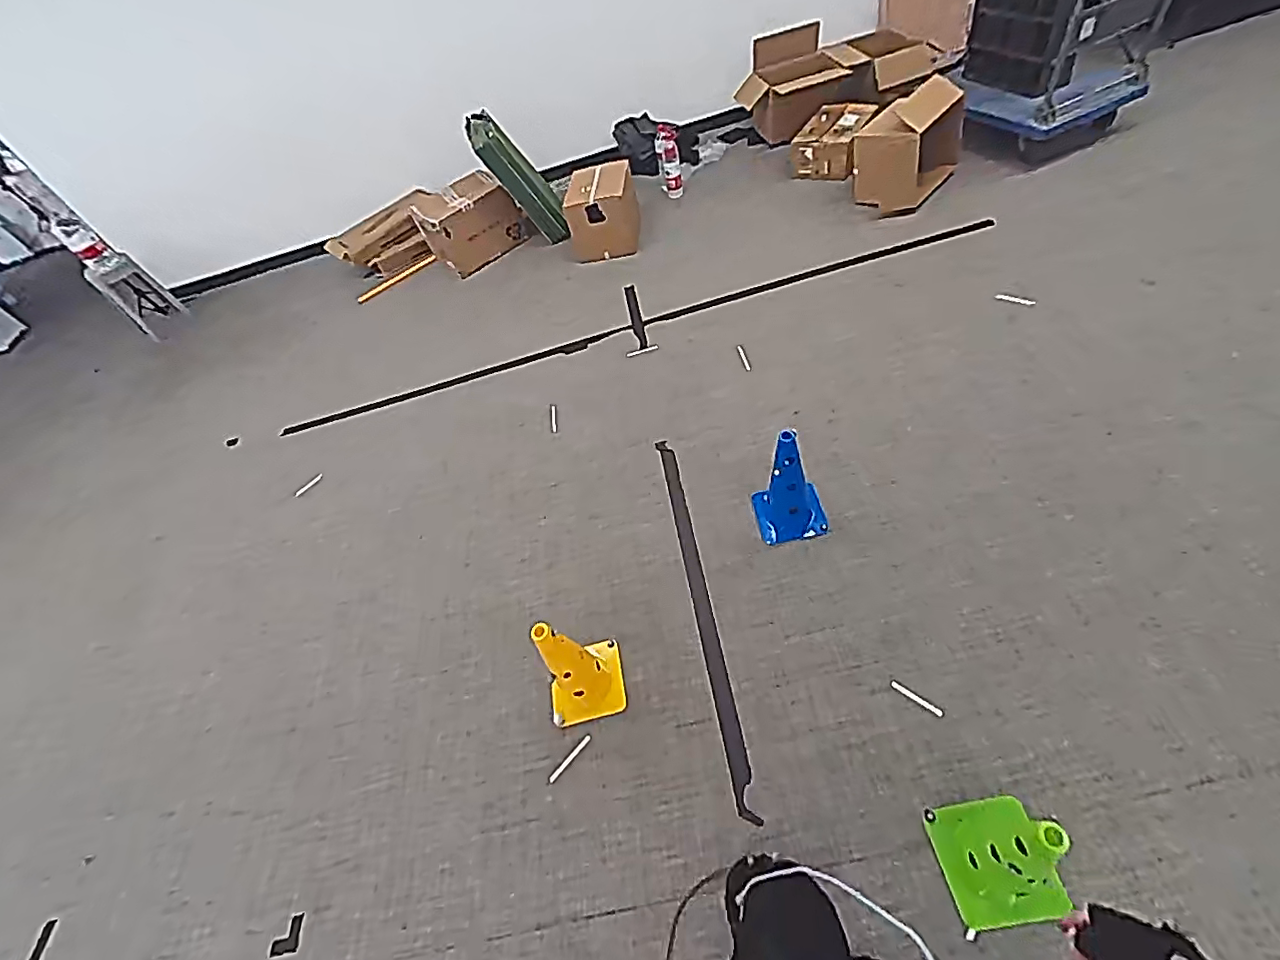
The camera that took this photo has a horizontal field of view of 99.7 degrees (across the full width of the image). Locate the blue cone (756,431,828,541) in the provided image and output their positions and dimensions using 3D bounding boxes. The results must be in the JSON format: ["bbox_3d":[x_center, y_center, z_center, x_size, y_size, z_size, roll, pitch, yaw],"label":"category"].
[{"bbox_3d":[0.429,-0.001,1.545,0.192,0.380,0.193,-11,50,7],"label":"blue cone"}]

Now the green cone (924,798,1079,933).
[{"bbox_3d":[0.659,0.645,0.932,0.202,0.368,0.200,-14,49,4],"label":"green cone"}]
